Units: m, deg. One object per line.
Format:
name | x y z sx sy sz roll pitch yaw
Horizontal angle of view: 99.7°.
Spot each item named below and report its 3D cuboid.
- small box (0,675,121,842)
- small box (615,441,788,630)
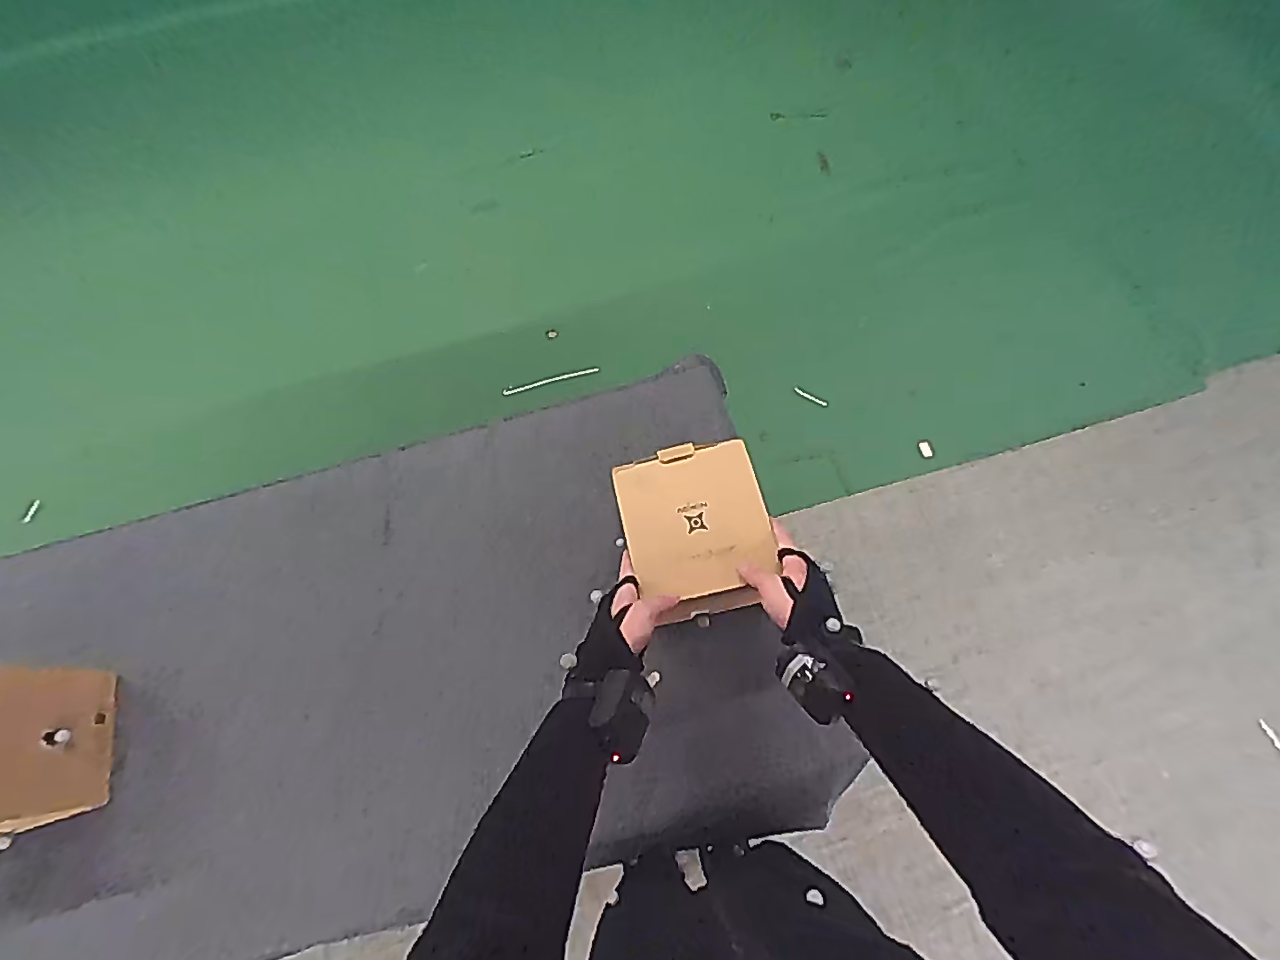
small box | -0.776 0.339 0.640 0.179 0.176 0.168 -16 68 -5
small box | 0.070 0.077 0.678 0.168 0.176 0.179 -12 67 1
